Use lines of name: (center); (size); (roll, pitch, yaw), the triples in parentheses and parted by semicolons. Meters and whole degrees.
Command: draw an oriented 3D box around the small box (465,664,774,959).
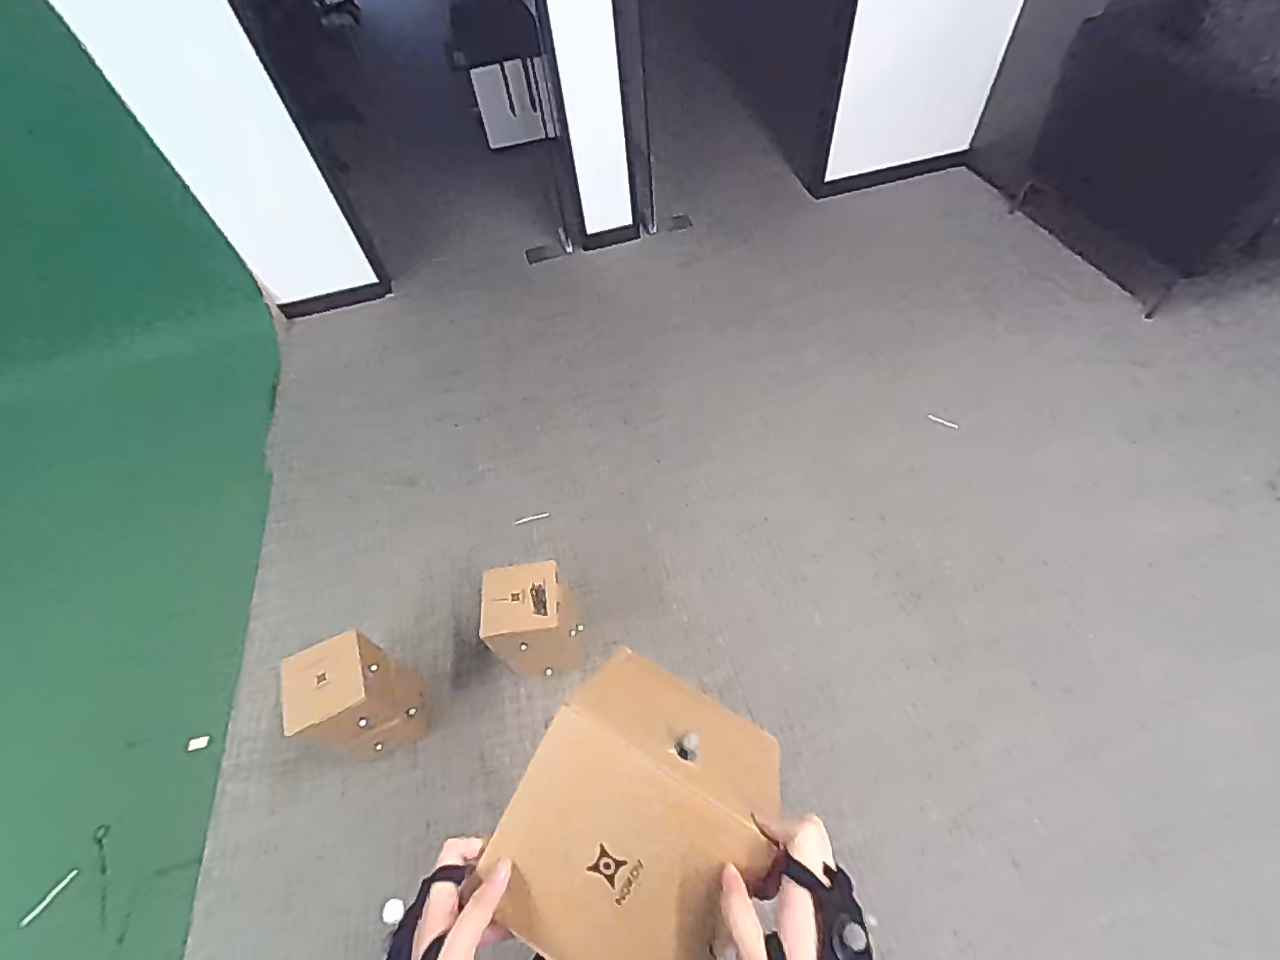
small box: (-0.004, 0.279, 0.460); (0.179, 0.176, 0.168); (29, 93, 13)

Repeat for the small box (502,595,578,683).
small box: (-0.260, 0.422, 1.427); (0.179, 0.176, 0.168); (-8, 53, -1)

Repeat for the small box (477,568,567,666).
small box: (-0.272, 0.330, 1.290); (0.179, 0.176, 0.168); (-9, 53, 1)

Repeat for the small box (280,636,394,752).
small box: (-0.674, 0.487, 1.215); (0.168, 0.176, 0.179); (-22, 54, -11)
